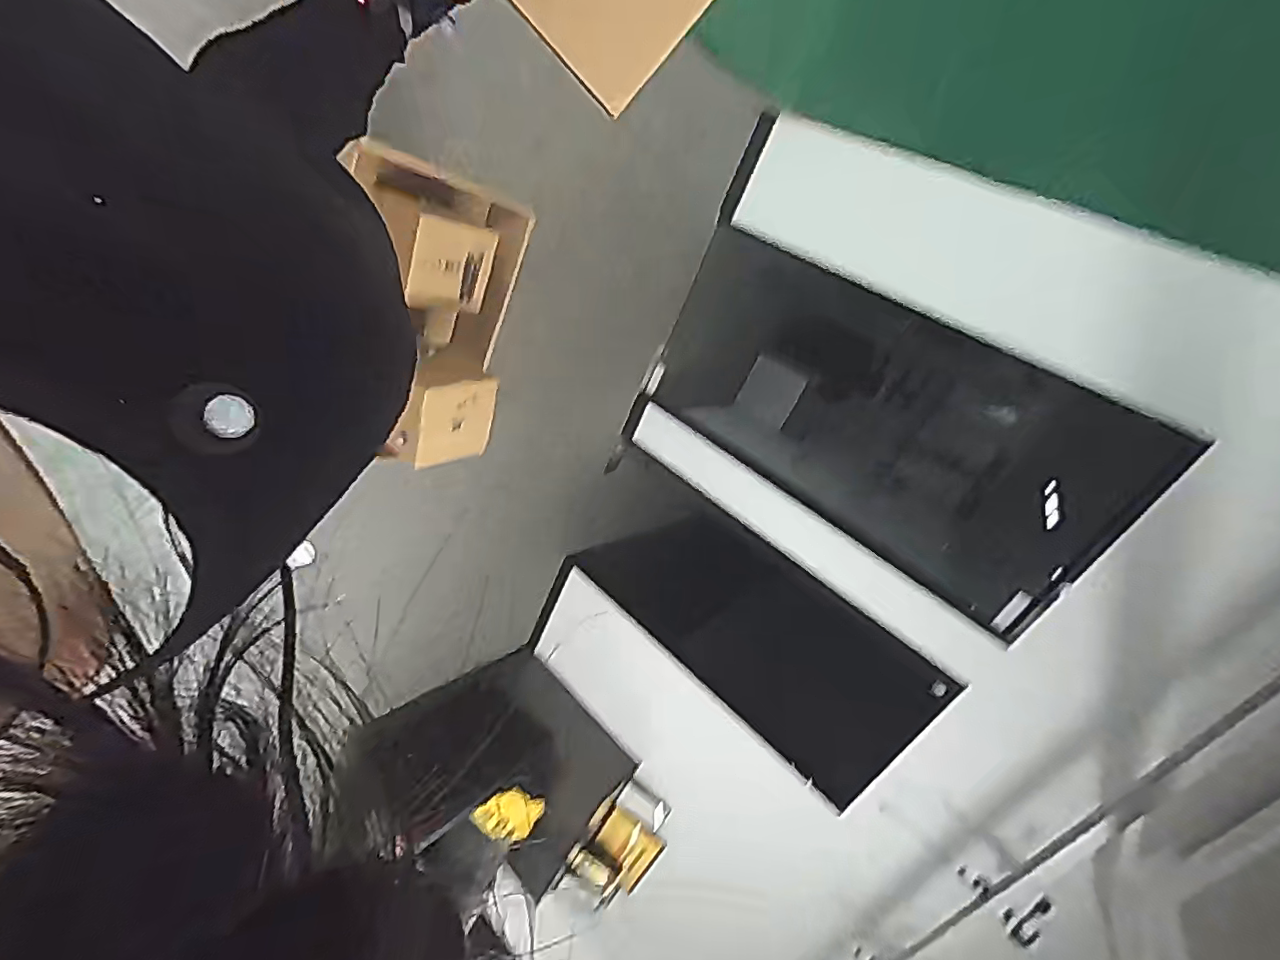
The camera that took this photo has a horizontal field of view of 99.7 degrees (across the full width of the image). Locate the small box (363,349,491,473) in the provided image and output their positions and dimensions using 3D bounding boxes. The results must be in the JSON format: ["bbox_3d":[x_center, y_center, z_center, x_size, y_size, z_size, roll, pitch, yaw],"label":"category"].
[{"bbox_3d":[-0.427,-0.142,1.074,0.168,0.176,0.179,-22,140,-51],"label":"small box"}]
